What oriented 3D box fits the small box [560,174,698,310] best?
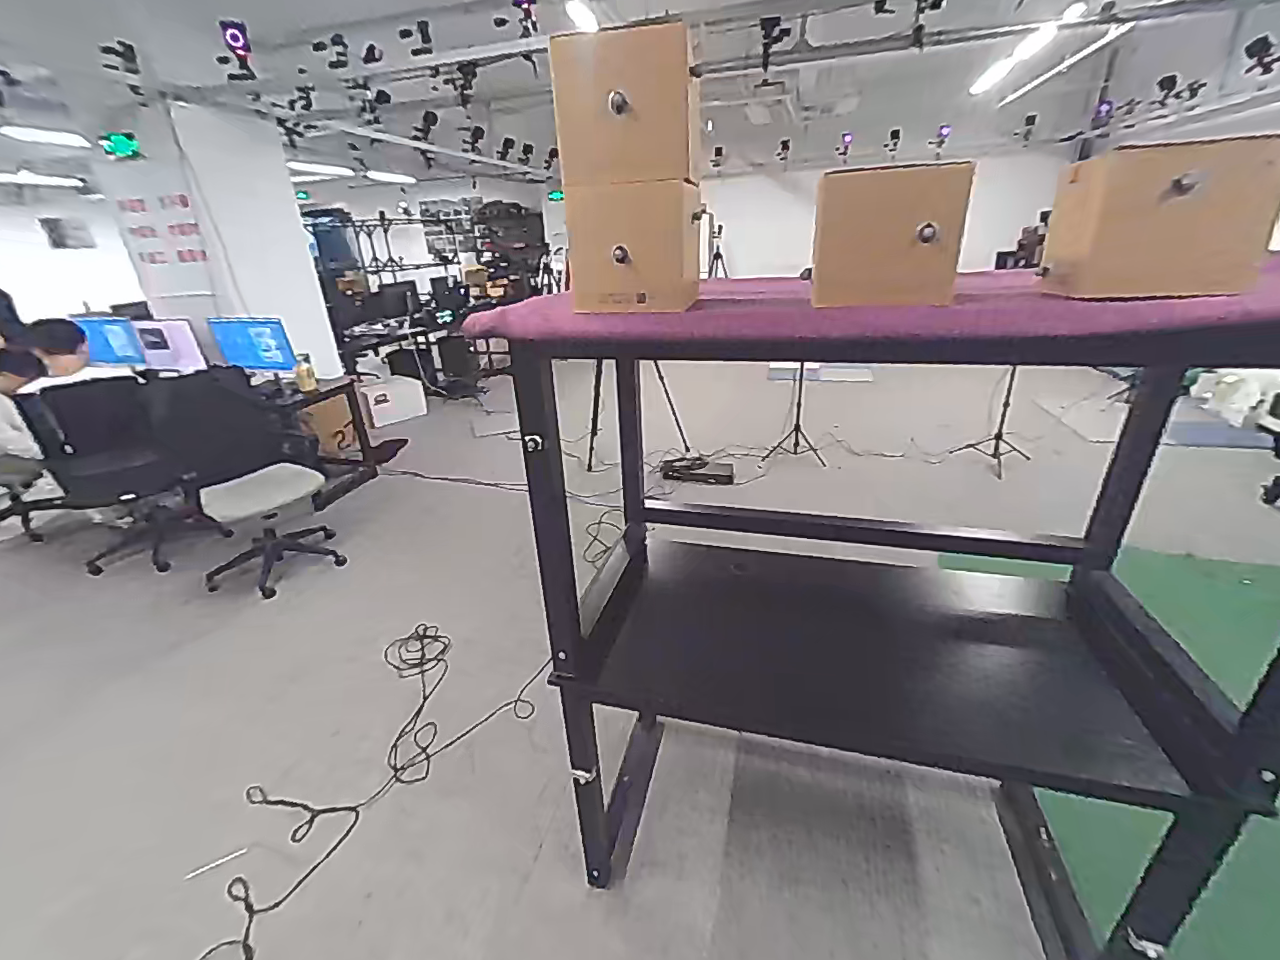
[{"bbox_3d":[-0.005,-0.352,0.810,0.168,0.176,0.179,4,26,13],"label":"small box"}]

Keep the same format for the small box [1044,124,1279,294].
[{"bbox_3d":[0.650,-0.331,0.690,0.179,0.176,0.168,5,24,17],"label":"small box"}]

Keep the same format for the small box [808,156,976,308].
[{"bbox_3d":[0.332,-0.339,0.752,0.179,0.176,0.168,2,25,14],"label":"small box"}]
